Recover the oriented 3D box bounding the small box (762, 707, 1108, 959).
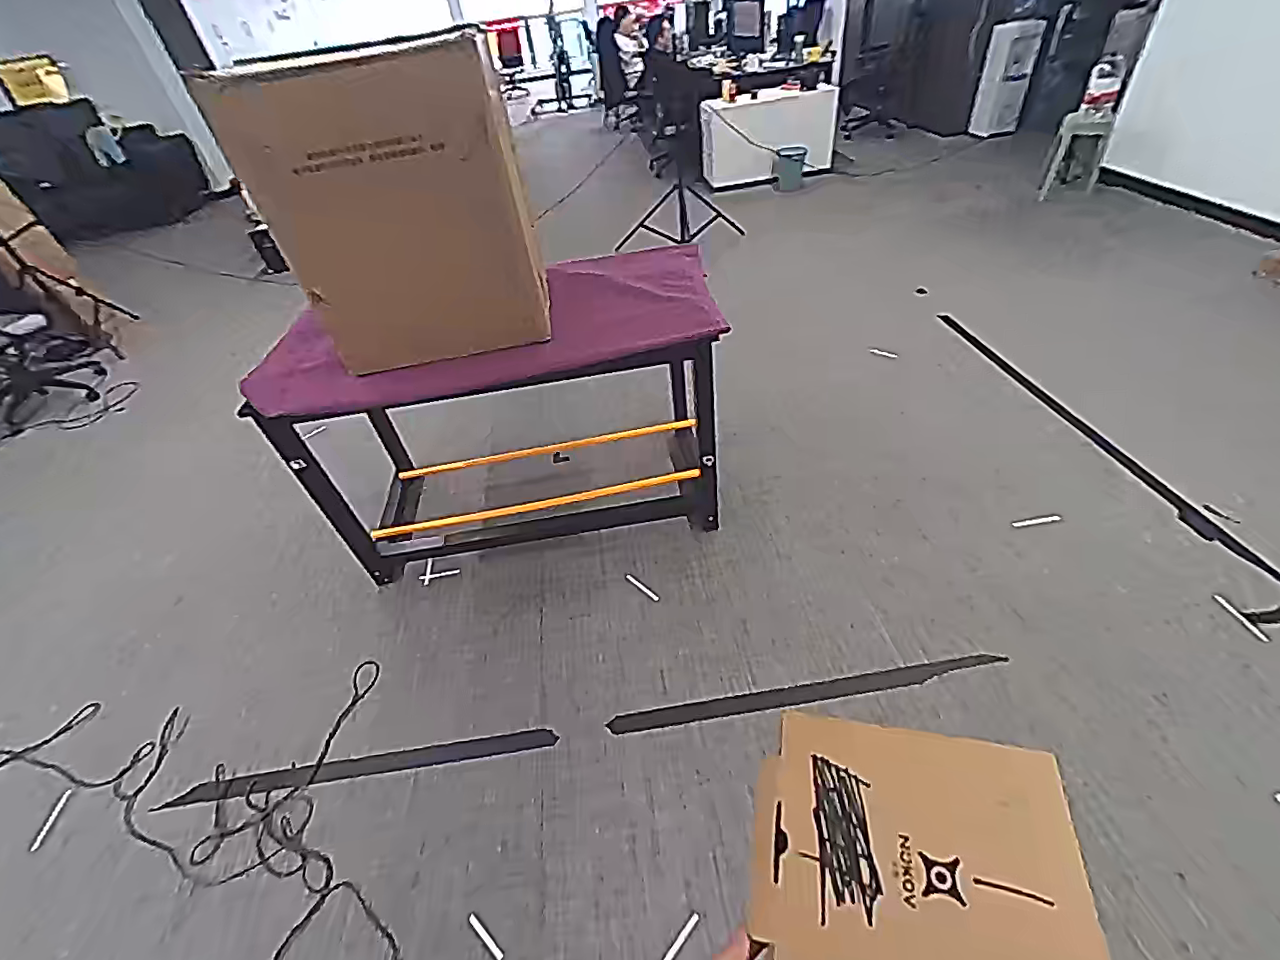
[{"bbox_3d":[0.179,0.283,0.379,0.179,0.176,0.168,4,49,14],"label":"small box"}]
